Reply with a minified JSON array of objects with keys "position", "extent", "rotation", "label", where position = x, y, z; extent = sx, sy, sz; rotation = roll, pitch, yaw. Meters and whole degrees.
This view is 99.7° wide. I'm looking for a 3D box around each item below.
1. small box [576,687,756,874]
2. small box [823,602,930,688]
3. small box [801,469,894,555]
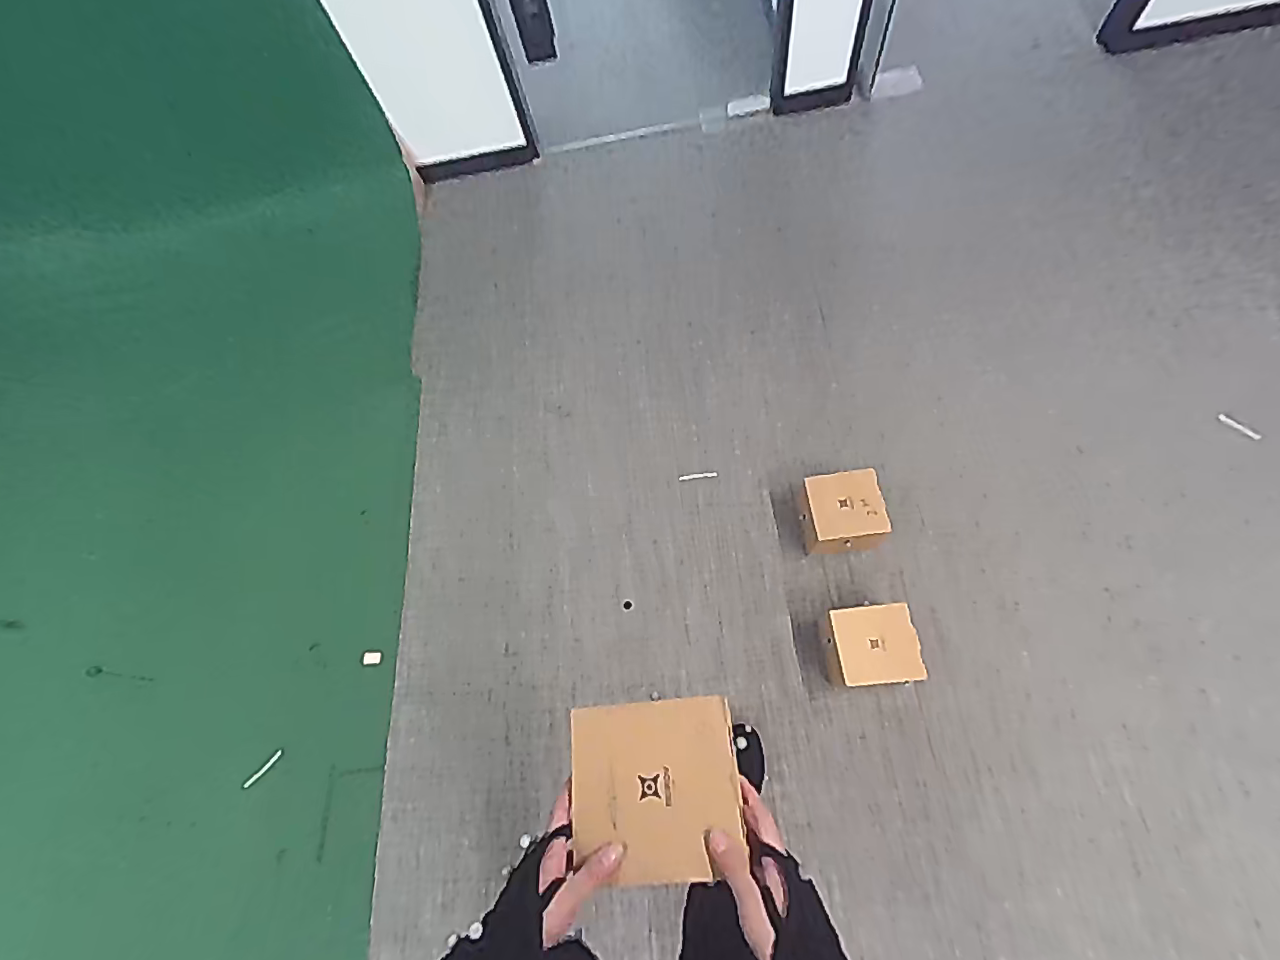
[{"position":[0.031,0.339,0.624],"extent":[0.179,0.176,0.168],"rotation":[-7,61,7],"label":"small box"},{"position":[0.534,0.388,1.254],"extent":[0.179,0.176,0.168],"rotation":[-8,67,4],"label":"small box"},{"position":[0.515,0.087,1.375],"extent":[0.179,0.176,0.168],"rotation":[-7,68,5],"label":"small box"}]
